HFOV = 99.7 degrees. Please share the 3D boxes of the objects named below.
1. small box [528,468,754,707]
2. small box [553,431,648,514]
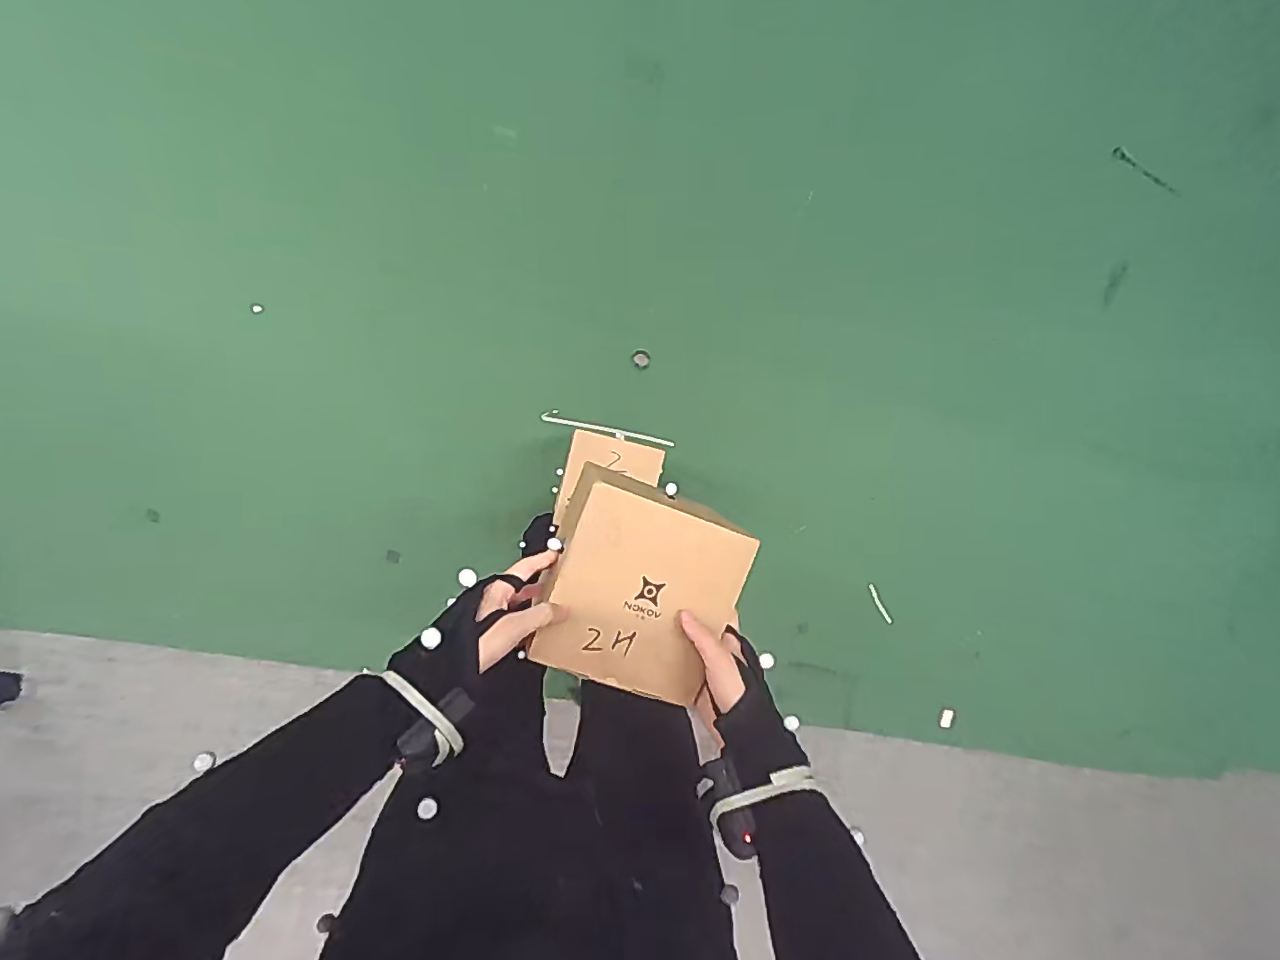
[{"bbox_3d":[-0.011,0.098,0.574,0.168,0.176,0.179,22,95,-12],"label":"small box"},{"bbox_3d":[-0.092,-0.004,1.193,0.168,0.176,0.179,14,93,-8],"label":"small box"}]
